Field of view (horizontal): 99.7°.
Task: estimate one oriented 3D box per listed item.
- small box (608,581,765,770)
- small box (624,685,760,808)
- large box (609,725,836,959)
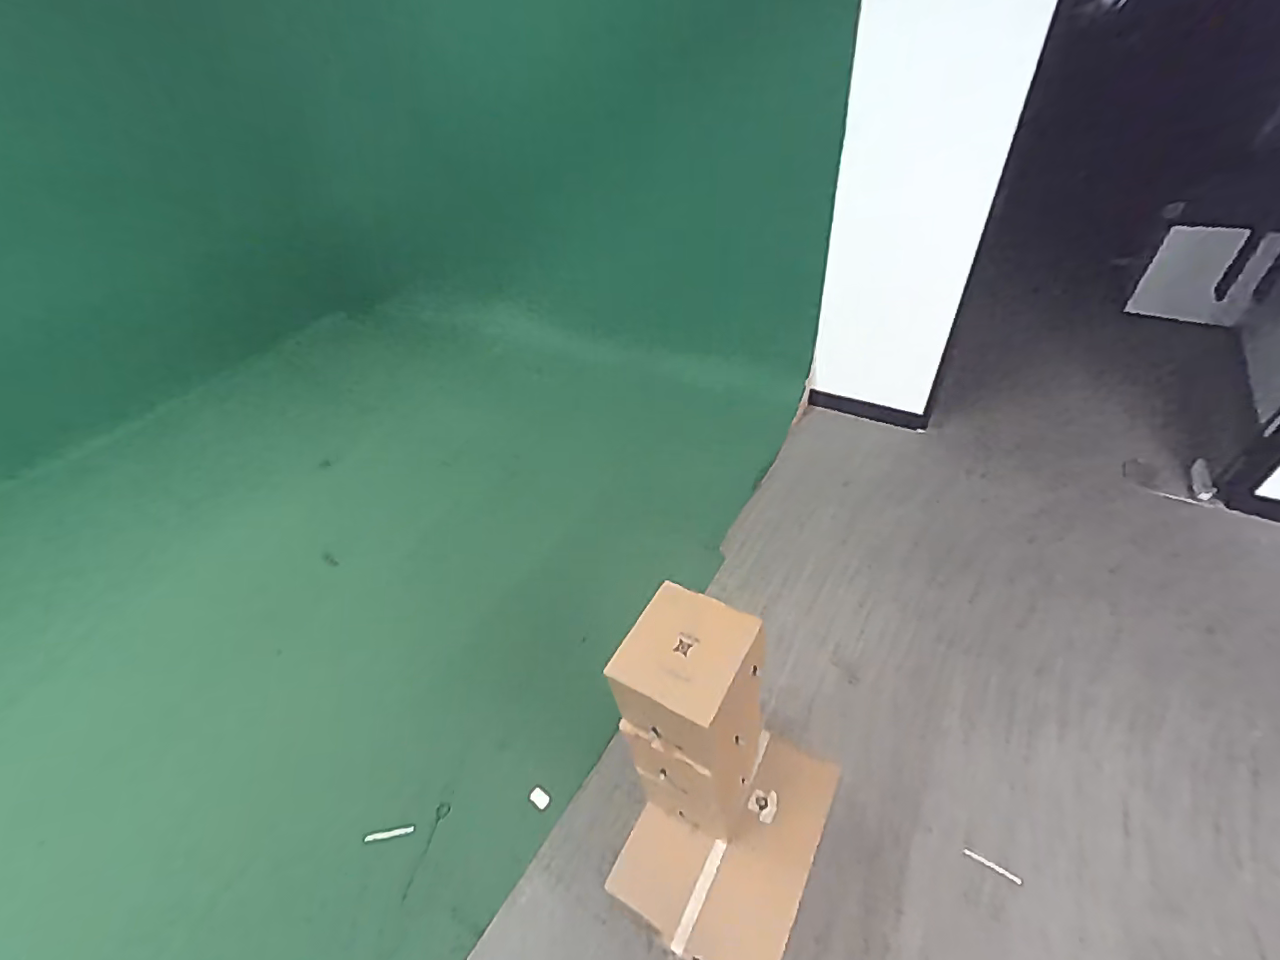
[{"bbox_3d":[0.078,0.291,0.814,0.168,0.176,0.179,18,51,30],"label":"small box"},{"bbox_3d":[0.095,0.413,0.922,0.168,0.176,0.179,16,50,28],"label":"small box"},{"bbox_3d":[0.185,0.765,1.132,0.320,0.320,0.408,19,49,26],"label":"large box"}]
